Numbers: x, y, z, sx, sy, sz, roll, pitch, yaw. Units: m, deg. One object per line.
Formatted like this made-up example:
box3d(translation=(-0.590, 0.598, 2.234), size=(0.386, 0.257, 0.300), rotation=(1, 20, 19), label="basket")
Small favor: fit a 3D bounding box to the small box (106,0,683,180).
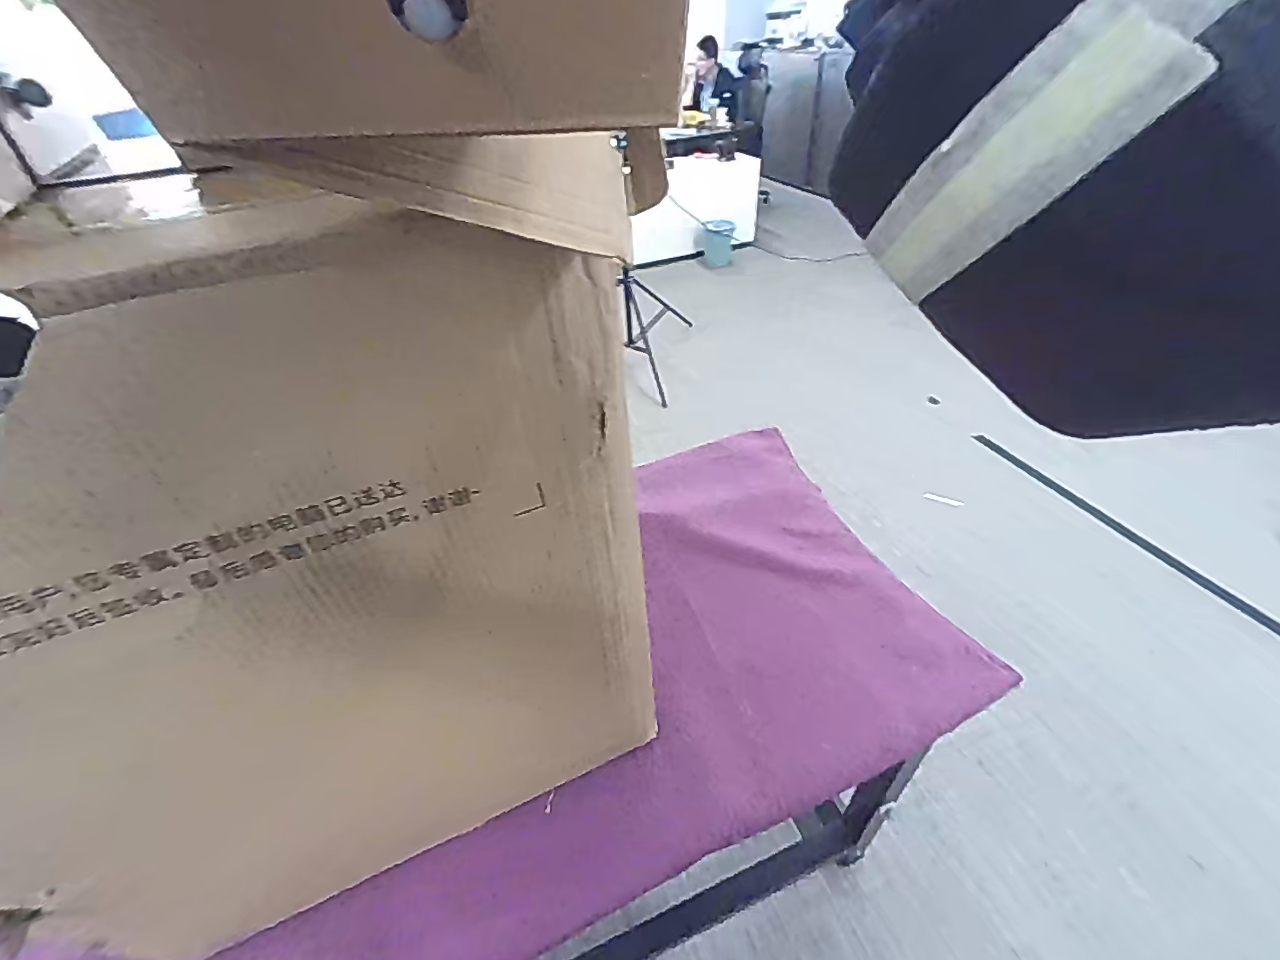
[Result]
box3d(translation=(-0.077, -0.220, 0.152), size=(0.179, 0.176, 0.168), rotation=(-4, 67, -4), label="small box")
